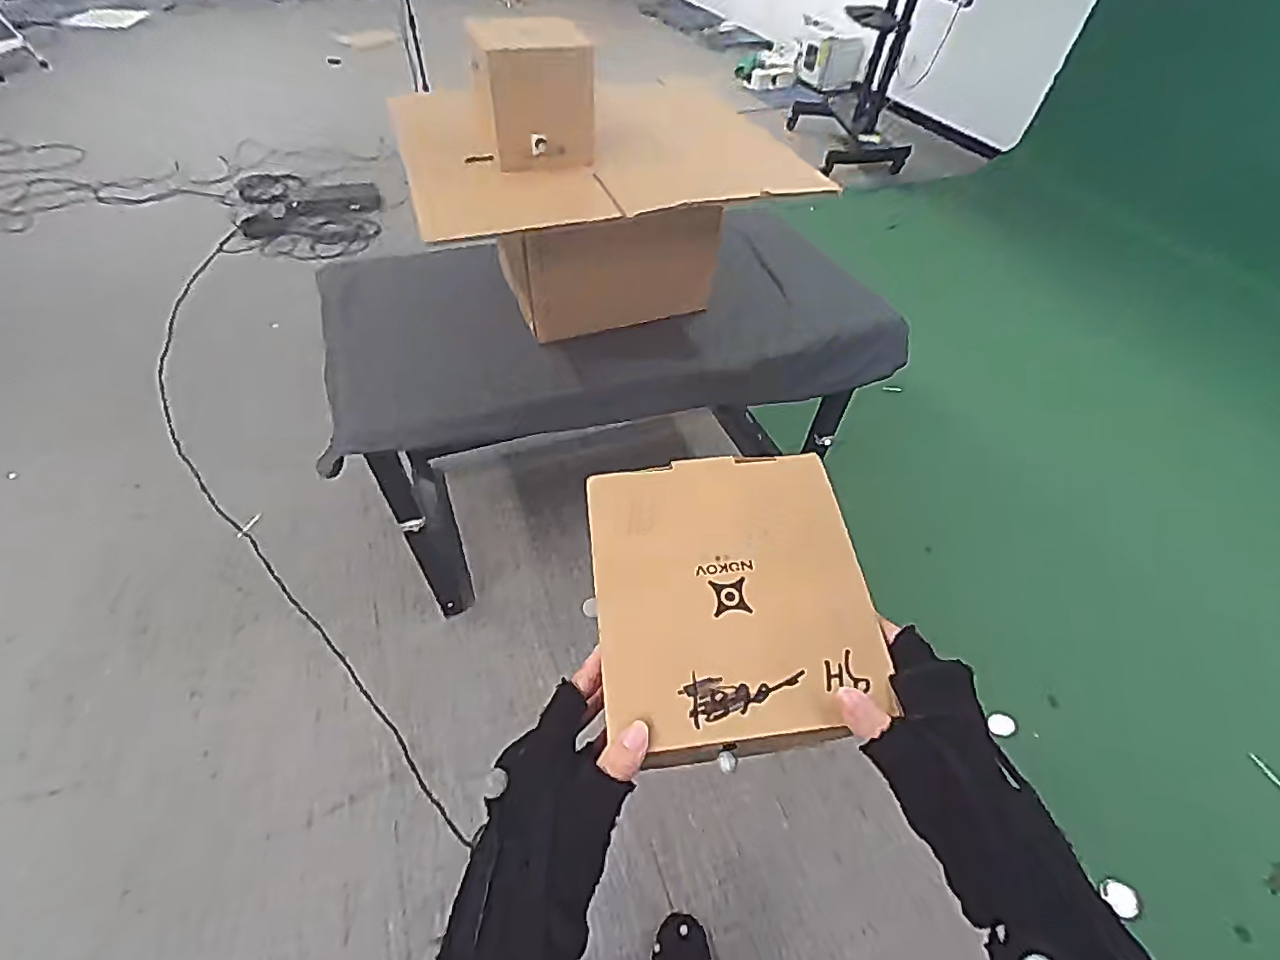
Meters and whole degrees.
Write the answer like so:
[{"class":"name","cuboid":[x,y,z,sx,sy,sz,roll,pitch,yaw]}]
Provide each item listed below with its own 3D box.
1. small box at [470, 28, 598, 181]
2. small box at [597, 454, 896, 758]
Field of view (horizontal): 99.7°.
[{"class":"small box","cuboid":[-0.175,-0.629,0.907,0.168,0.176,0.179,-16,55,-15]},{"class":"small box","cuboid":[0.057,0.102,0.413,0.168,0.176,0.179,-6,60,-2]}]
